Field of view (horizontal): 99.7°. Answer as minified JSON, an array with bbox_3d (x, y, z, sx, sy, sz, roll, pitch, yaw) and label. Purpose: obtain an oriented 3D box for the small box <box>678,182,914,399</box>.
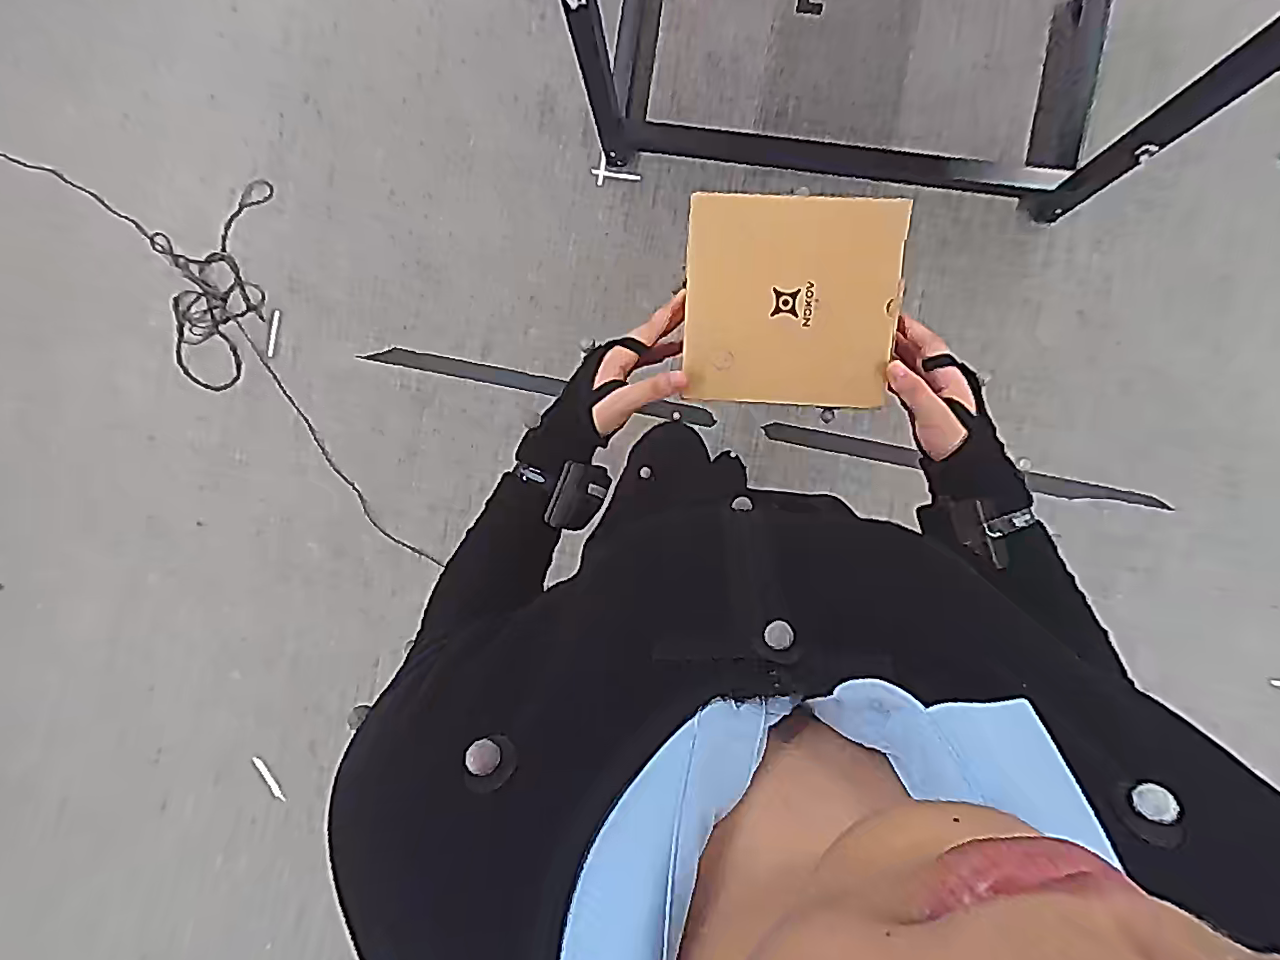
[{"bbox_3d":[0.127,-0.164,0.516,0.179,0.176,0.168,3,100,2],"label":"small box"}]
